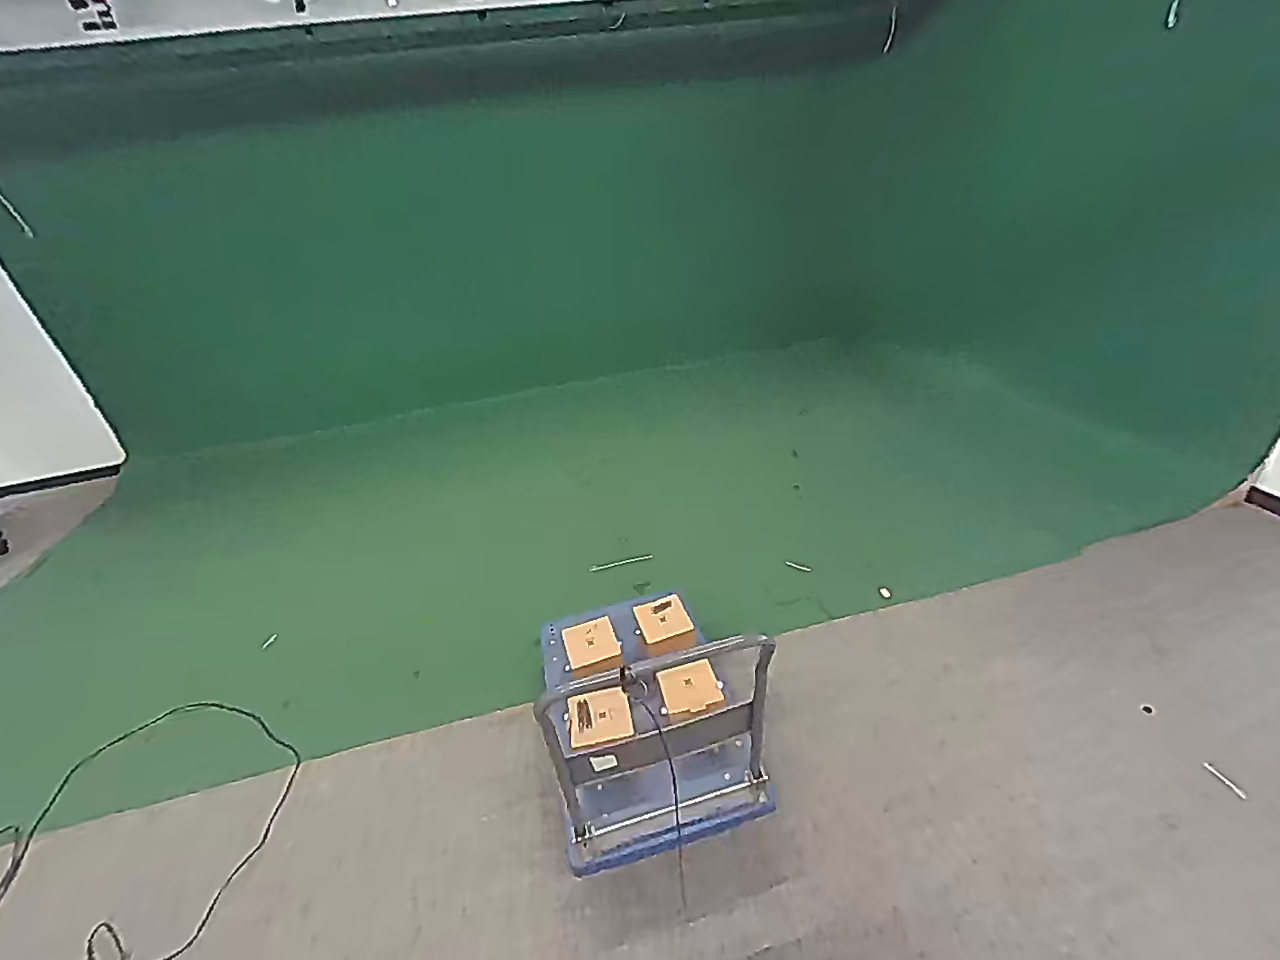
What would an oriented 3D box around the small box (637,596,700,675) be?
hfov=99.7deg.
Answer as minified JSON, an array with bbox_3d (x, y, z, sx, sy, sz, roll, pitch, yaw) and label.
[{"bbox_3d":[0.096,0.531,1.844,0.168,0.176,0.179,-15,33,-11],"label":"small box"}]

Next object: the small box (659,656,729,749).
[{"bbox_3d":[0.160,0.664,1.618,0.168,0.176,0.179,-12,33,-8],"label":"small box"}]

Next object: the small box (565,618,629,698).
[{"bbox_3d":[-0.141,0.596,1.793,0.168,0.176,0.179,-14,32,-12],"label":"small box"}]
